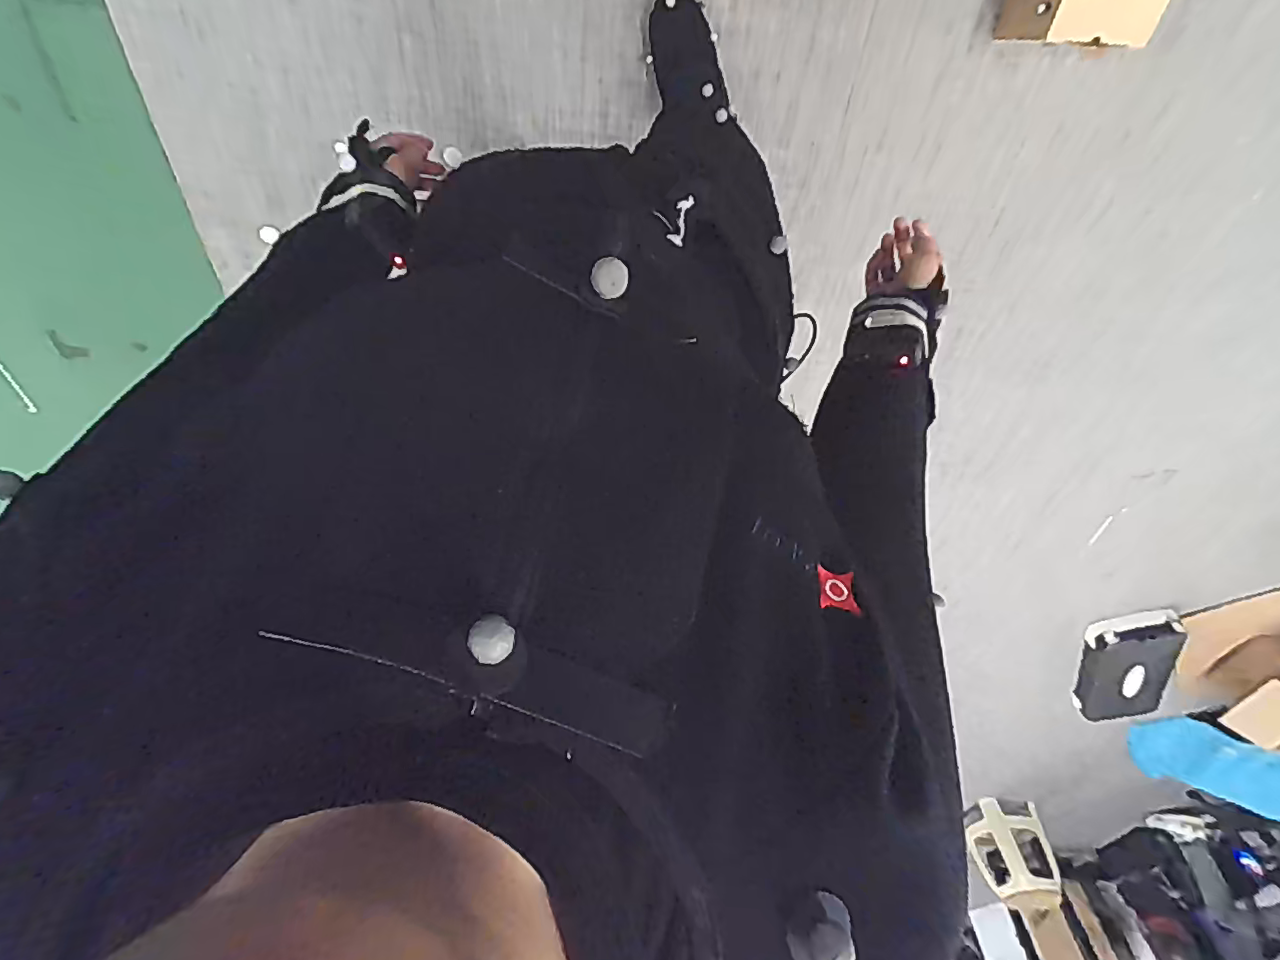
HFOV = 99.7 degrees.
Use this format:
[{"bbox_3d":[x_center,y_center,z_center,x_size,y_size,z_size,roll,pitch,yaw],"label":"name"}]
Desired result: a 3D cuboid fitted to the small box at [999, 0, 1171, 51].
[{"bbox_3d":[0.714,-0.795,0.850,0.168,0.176,0.179,2,130,-3],"label":"small box"}]
